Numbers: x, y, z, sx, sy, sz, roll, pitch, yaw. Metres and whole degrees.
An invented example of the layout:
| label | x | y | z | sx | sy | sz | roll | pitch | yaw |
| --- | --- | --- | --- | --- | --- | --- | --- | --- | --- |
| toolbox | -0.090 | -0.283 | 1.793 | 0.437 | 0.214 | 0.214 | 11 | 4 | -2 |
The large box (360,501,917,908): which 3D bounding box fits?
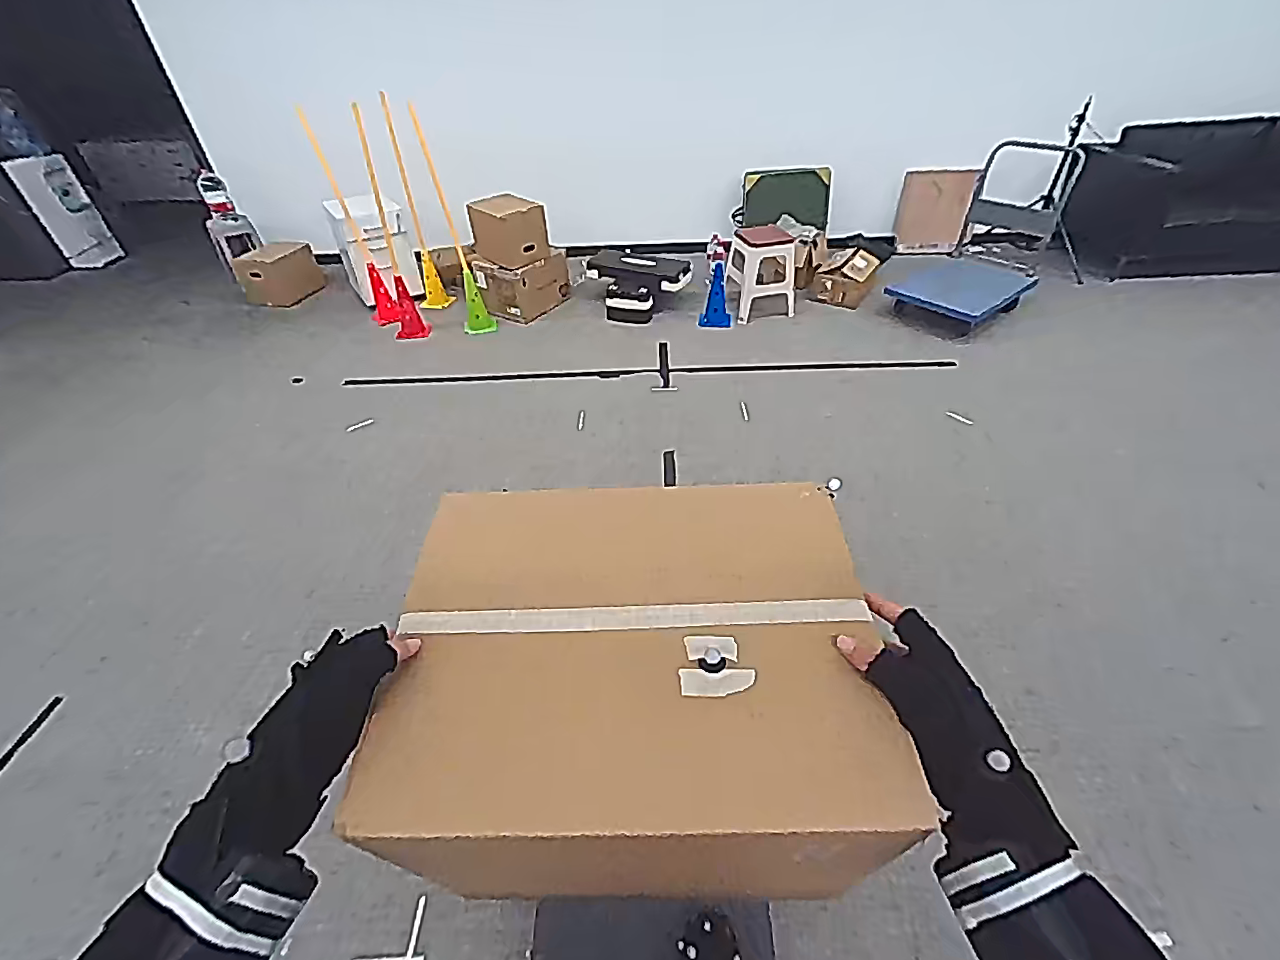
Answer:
| label | x | y | z | sx | sy | sz | roll | pitch | yaw |
| --- | --- | --- | --- | --- | --- | --- | --- | --- | --- |
| large box | 0.000 | 0.242 | 0.587 | 0.408 | 0.320 | 0.320 | -1 | 45 | 2 |
